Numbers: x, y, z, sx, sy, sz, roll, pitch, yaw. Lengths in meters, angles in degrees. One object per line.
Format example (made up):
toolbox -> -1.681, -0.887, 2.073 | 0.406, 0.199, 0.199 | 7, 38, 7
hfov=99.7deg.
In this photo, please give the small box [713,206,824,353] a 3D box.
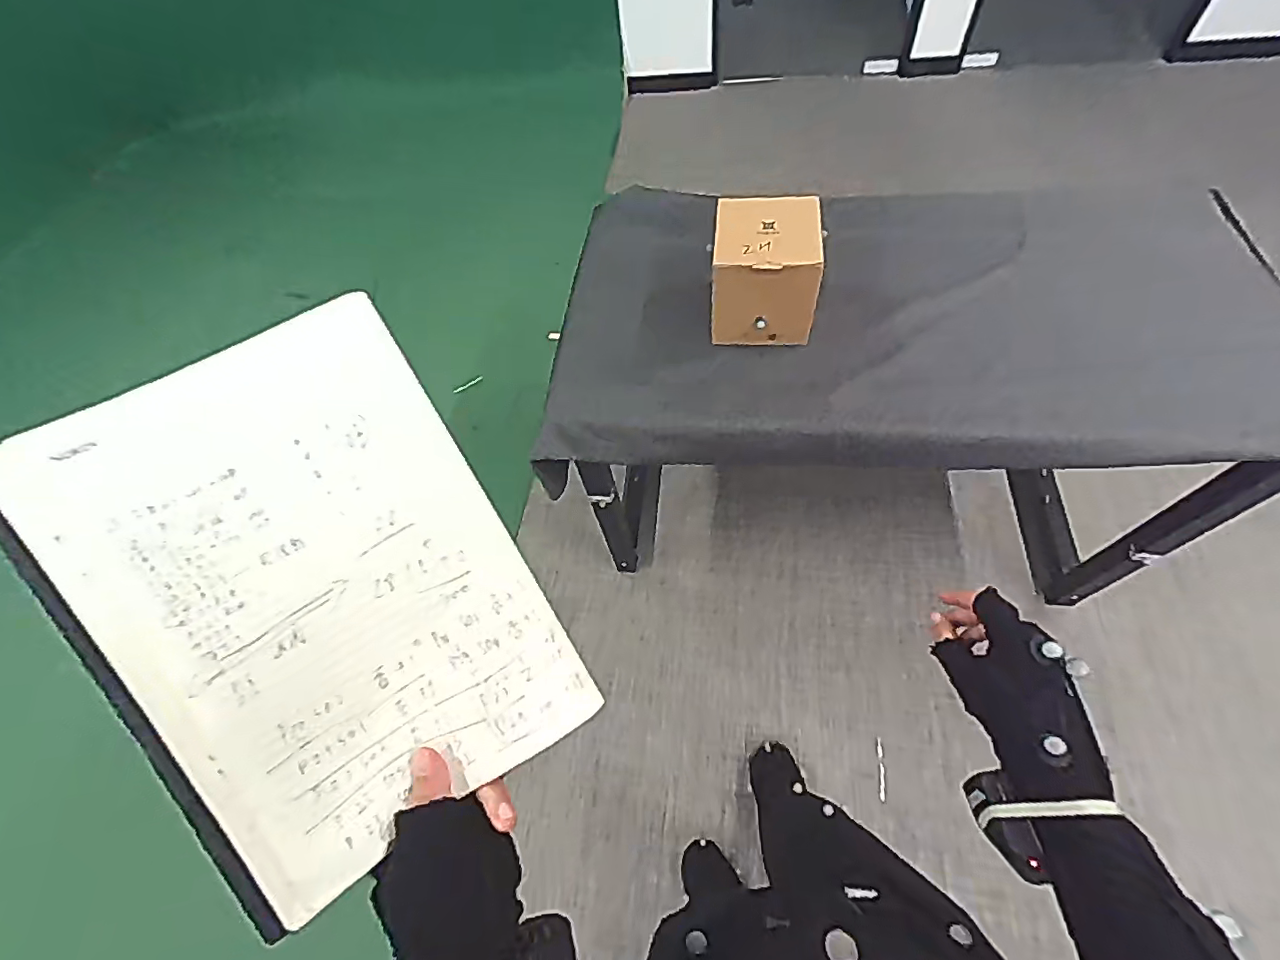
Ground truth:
small box -> 0.214, -0.343, 0.931 | 0.168, 0.176, 0.179 | 3, 58, 9
